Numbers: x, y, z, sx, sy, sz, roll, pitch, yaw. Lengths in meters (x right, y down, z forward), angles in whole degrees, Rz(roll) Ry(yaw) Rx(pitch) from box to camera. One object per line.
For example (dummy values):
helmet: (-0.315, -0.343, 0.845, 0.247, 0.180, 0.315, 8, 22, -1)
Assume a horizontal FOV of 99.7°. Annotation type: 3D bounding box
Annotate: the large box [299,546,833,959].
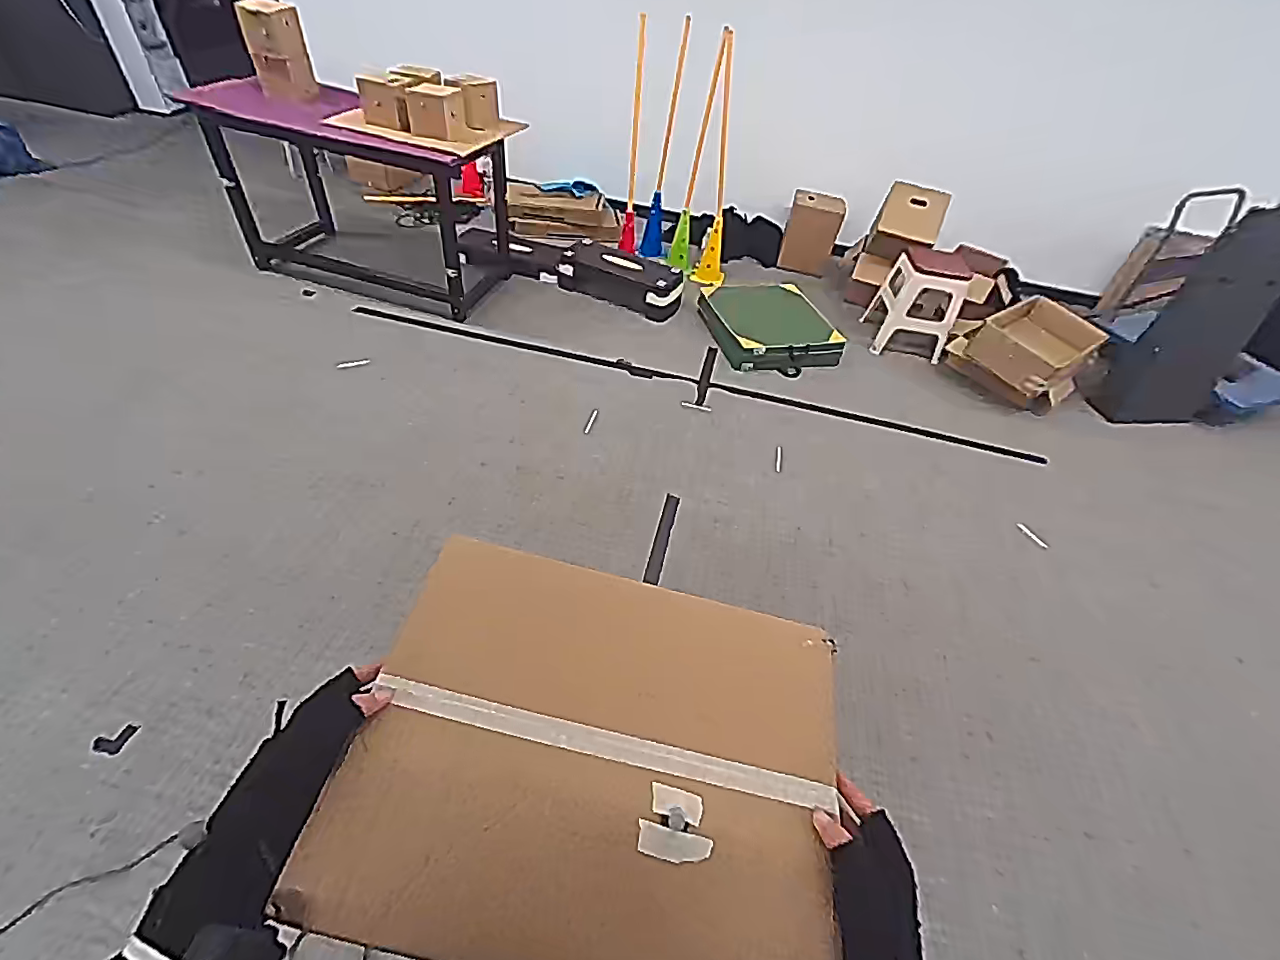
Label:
large box: (-0.052, 0.319, 0.593, 0.408, 0.320, 0.320, 15, 52, -1)
